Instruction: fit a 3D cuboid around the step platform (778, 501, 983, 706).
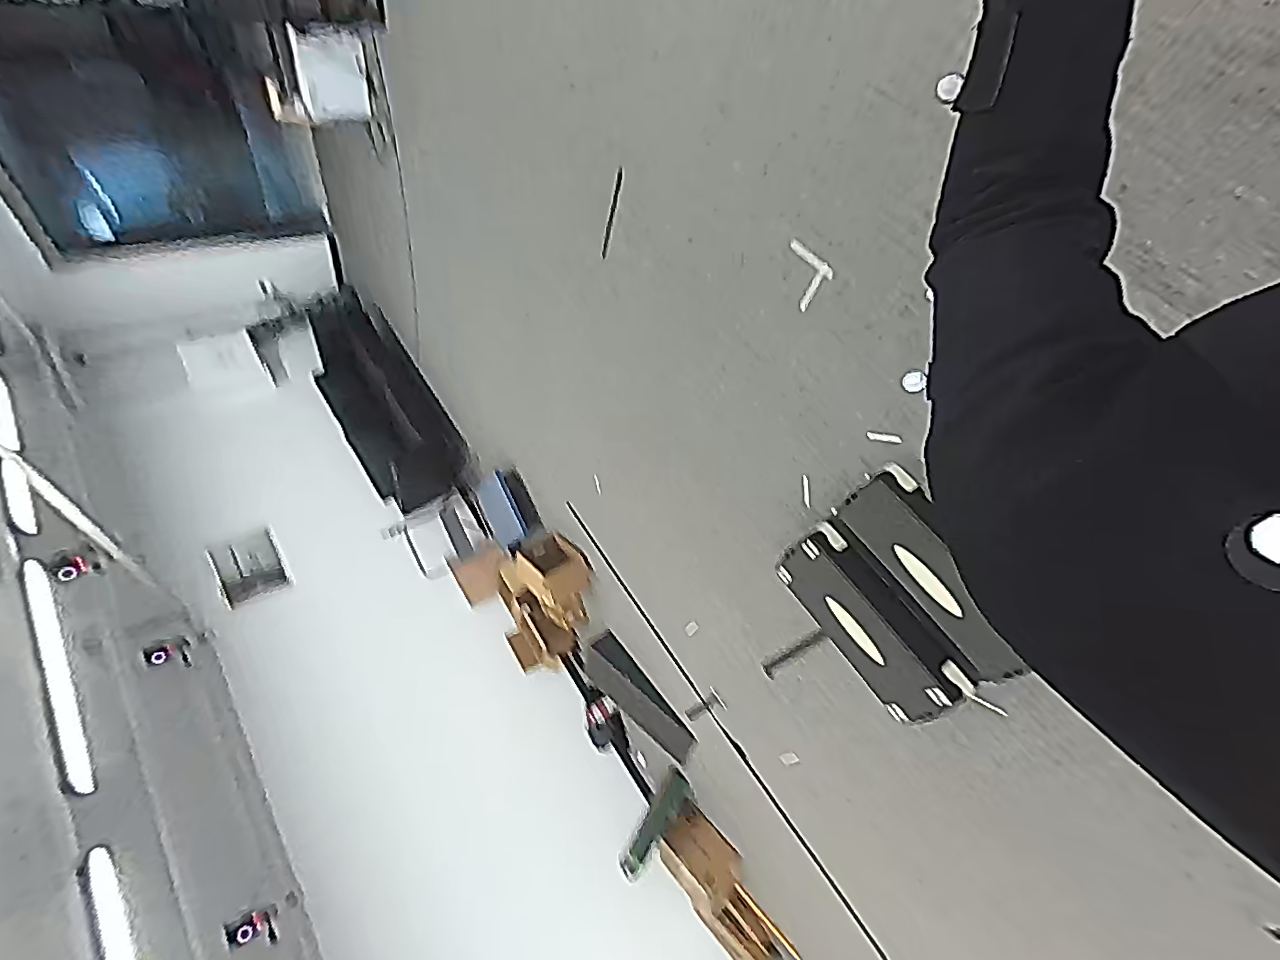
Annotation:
[{"bbox_3d":[0.786,0.416,1.841,0.684,0.204,0.286,54,148,22],"label":"step platform"}]
